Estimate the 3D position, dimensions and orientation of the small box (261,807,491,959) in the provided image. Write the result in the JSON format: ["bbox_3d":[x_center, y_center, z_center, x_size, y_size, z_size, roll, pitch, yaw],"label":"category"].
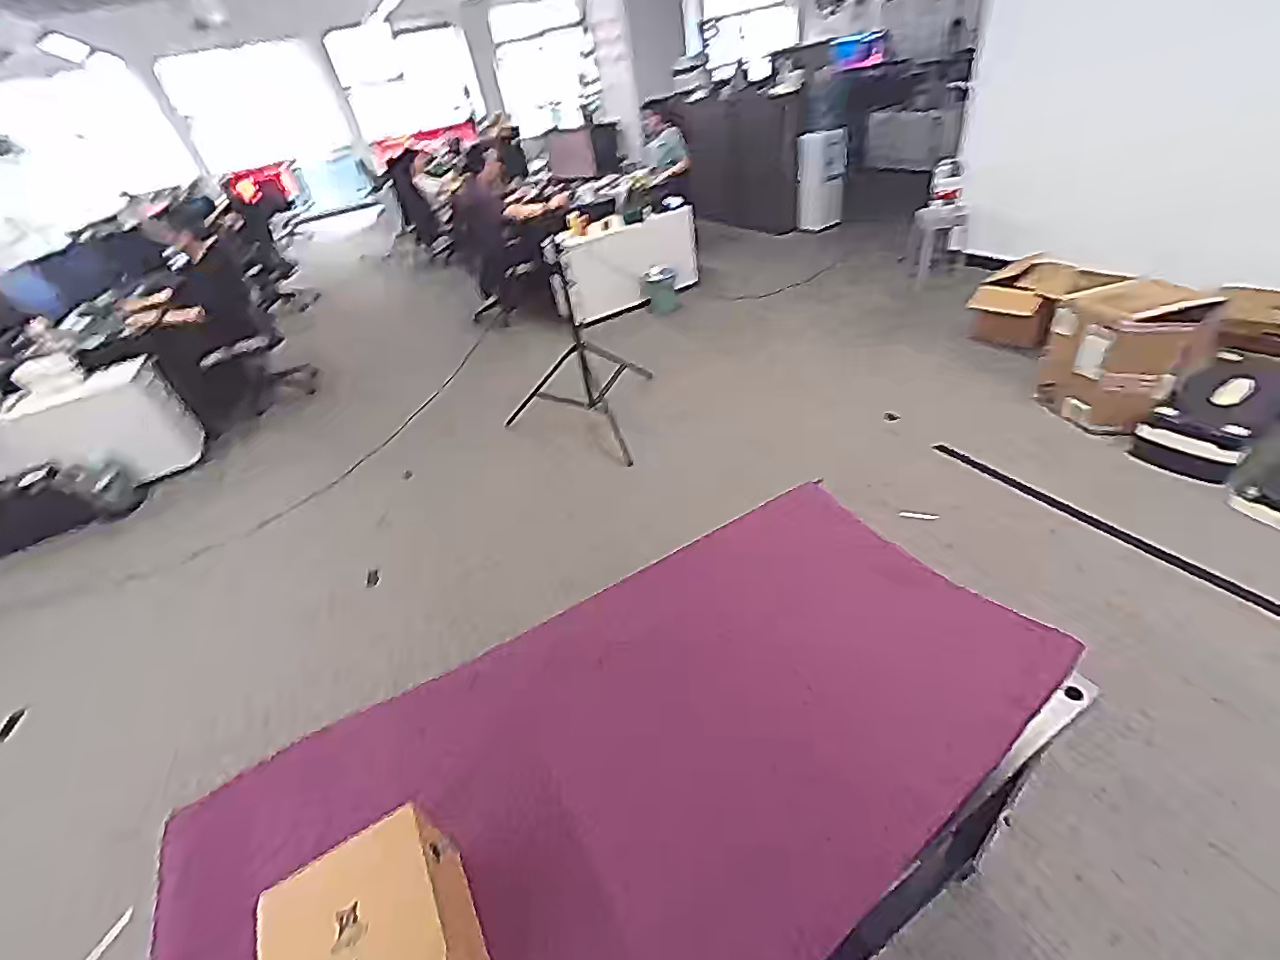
[{"bbox_3d":[-0.271,0.507,0.577,0.168,0.176,0.179,-27,40,-21],"label":"small box"}]
